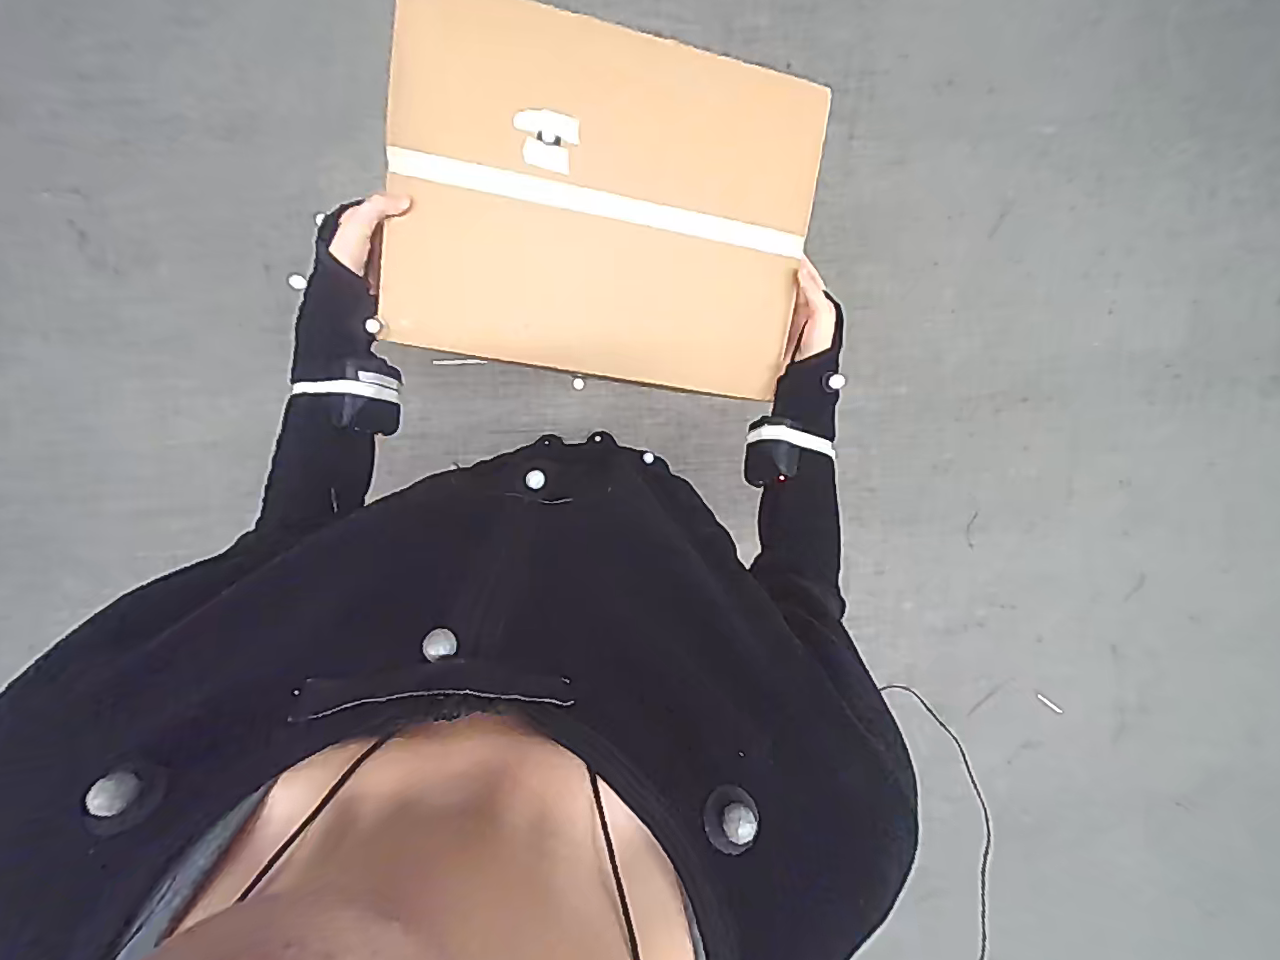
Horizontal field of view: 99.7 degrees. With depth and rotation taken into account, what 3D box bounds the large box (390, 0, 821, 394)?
[{"bbox_3d":[-0.051,-0.291,0.678,0.408,0.320,0.320,7,99,-11],"label":"large box"}]
